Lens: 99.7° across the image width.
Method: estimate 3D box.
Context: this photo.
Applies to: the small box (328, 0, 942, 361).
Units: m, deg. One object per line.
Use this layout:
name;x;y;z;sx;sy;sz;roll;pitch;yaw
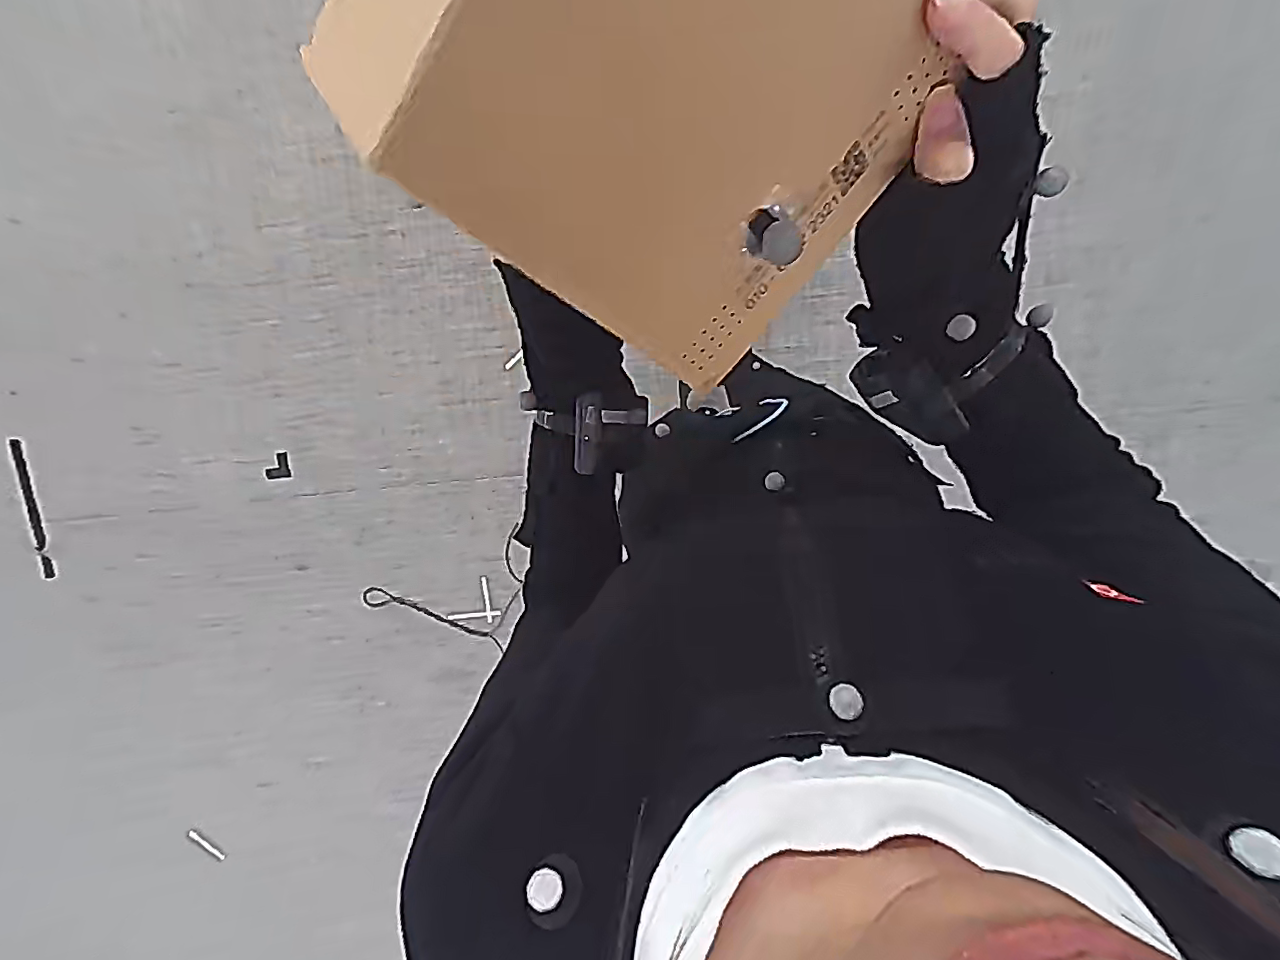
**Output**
small box;-0.006;-0.181;0.243;0.176;0.179;0.168;22;113;-48
